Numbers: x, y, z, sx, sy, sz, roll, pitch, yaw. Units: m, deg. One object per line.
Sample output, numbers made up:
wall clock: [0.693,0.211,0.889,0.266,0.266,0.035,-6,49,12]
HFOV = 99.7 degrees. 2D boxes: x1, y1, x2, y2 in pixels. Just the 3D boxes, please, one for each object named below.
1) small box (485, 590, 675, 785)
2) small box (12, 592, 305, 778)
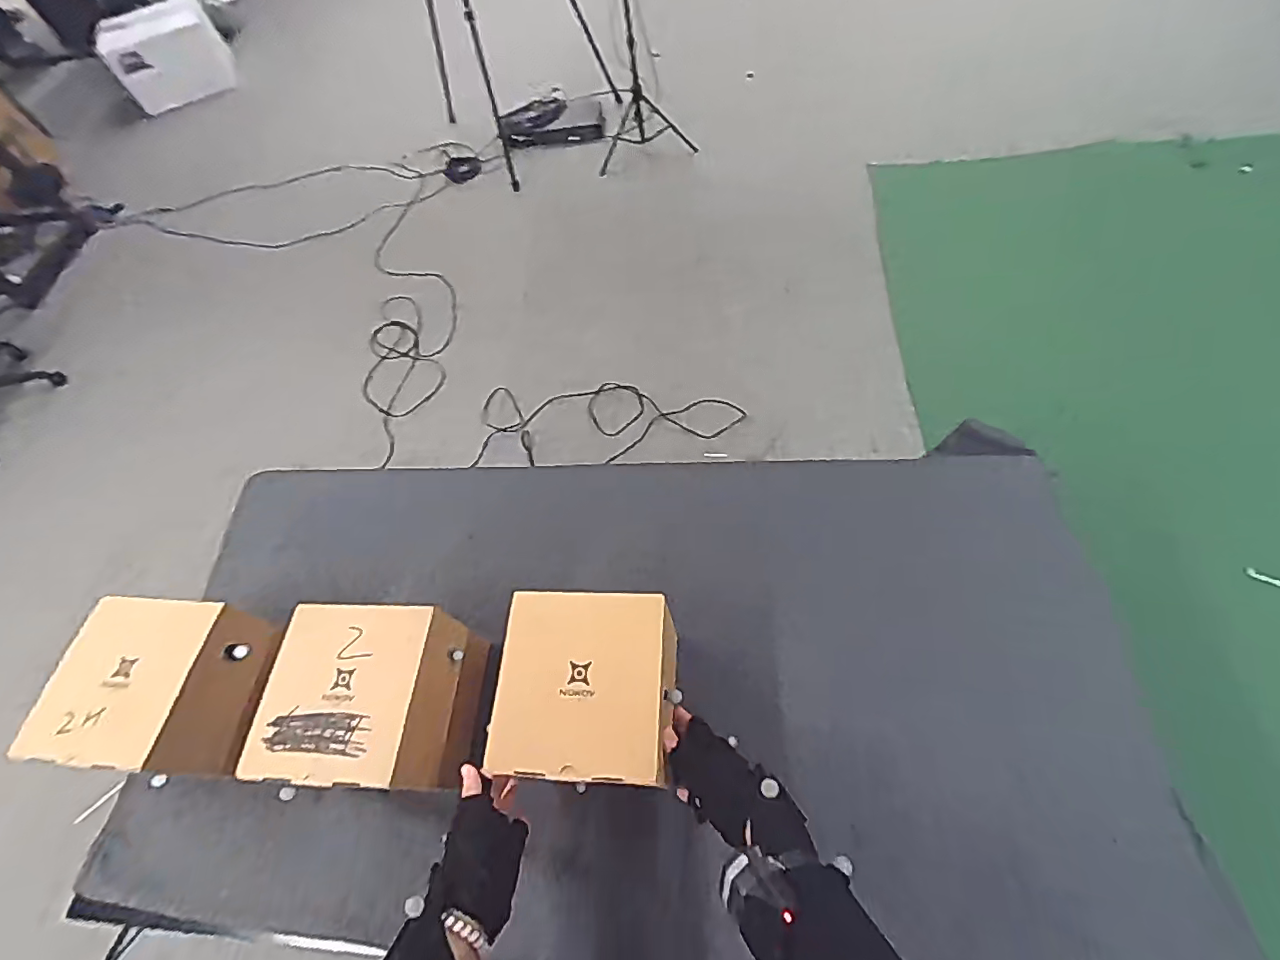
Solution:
small box: [-0.050,0.234,0.601,0.168,0.176,0.179,0,61,8]
small box: [-0.554,0.252,0.658,0.168,0.176,0.179,1,59,9]
